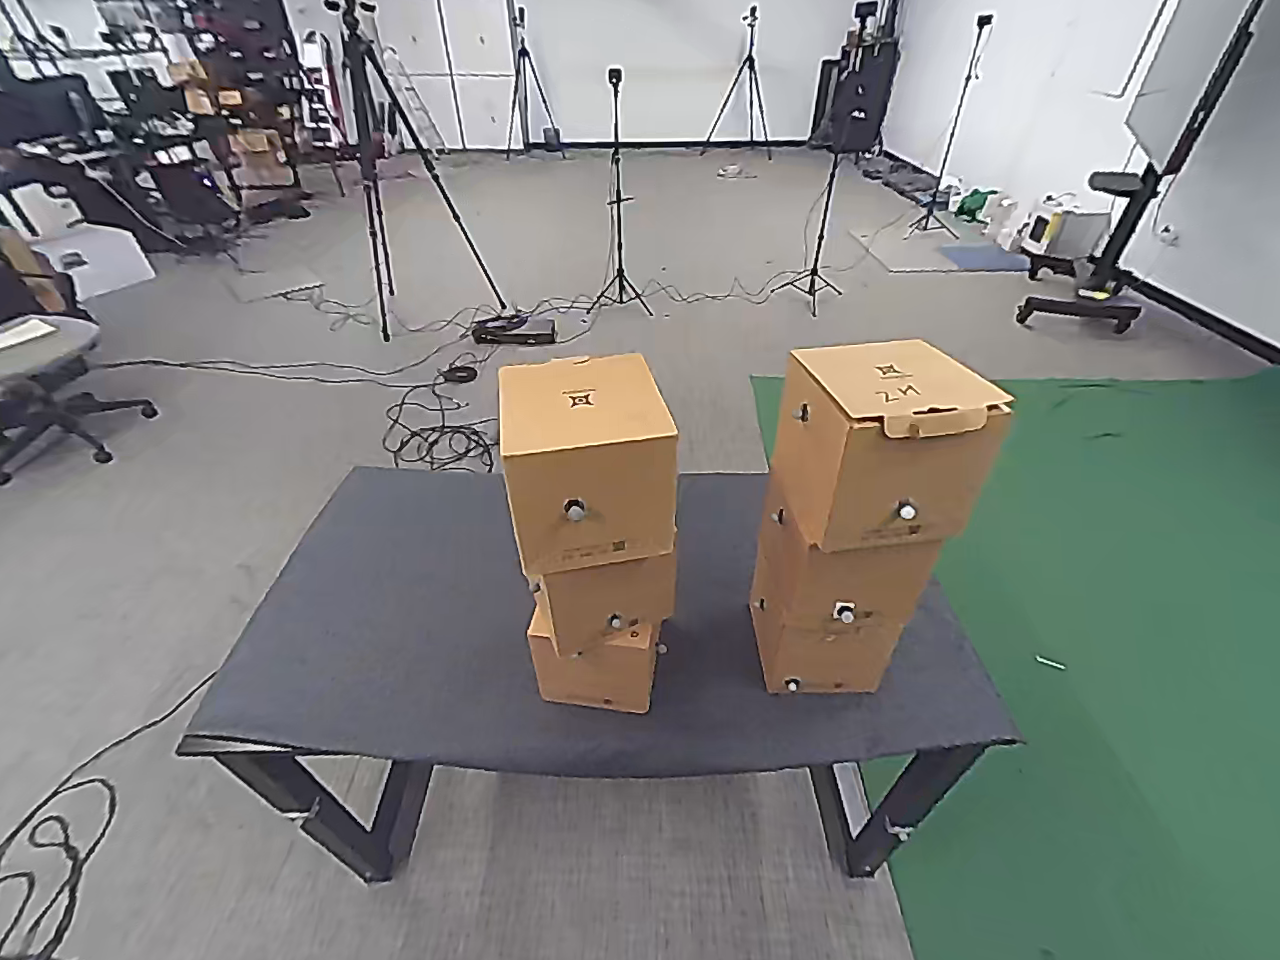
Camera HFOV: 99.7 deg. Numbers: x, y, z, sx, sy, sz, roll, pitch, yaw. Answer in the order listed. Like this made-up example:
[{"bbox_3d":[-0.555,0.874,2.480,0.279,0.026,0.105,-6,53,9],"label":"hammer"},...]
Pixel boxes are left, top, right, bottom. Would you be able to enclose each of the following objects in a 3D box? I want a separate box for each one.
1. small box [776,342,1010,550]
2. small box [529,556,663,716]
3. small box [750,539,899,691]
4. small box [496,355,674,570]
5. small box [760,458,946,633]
[{"bbox_3d":[0.267,-0.043,0.625,0.168,0.176,0.179,-7,38,-4],"label":"small box"},{"bbox_3d":[-0.058,0.226,0.822,0.168,0.176,0.179,5,38,7],"label":"small box"},{"bbox_3d":[0.271,0.208,0.837,0.168,0.176,0.179,-1,37,0],"label":"small box"},{"bbox_3d":[-0.062,-0.017,0.601,0.168,0.176,0.179,-8,40,-9],"label":"small box"},{"bbox_3d":[0.268,0.083,0.733,0.168,0.176,0.179,-4,39,-2],"label":"small box"}]
